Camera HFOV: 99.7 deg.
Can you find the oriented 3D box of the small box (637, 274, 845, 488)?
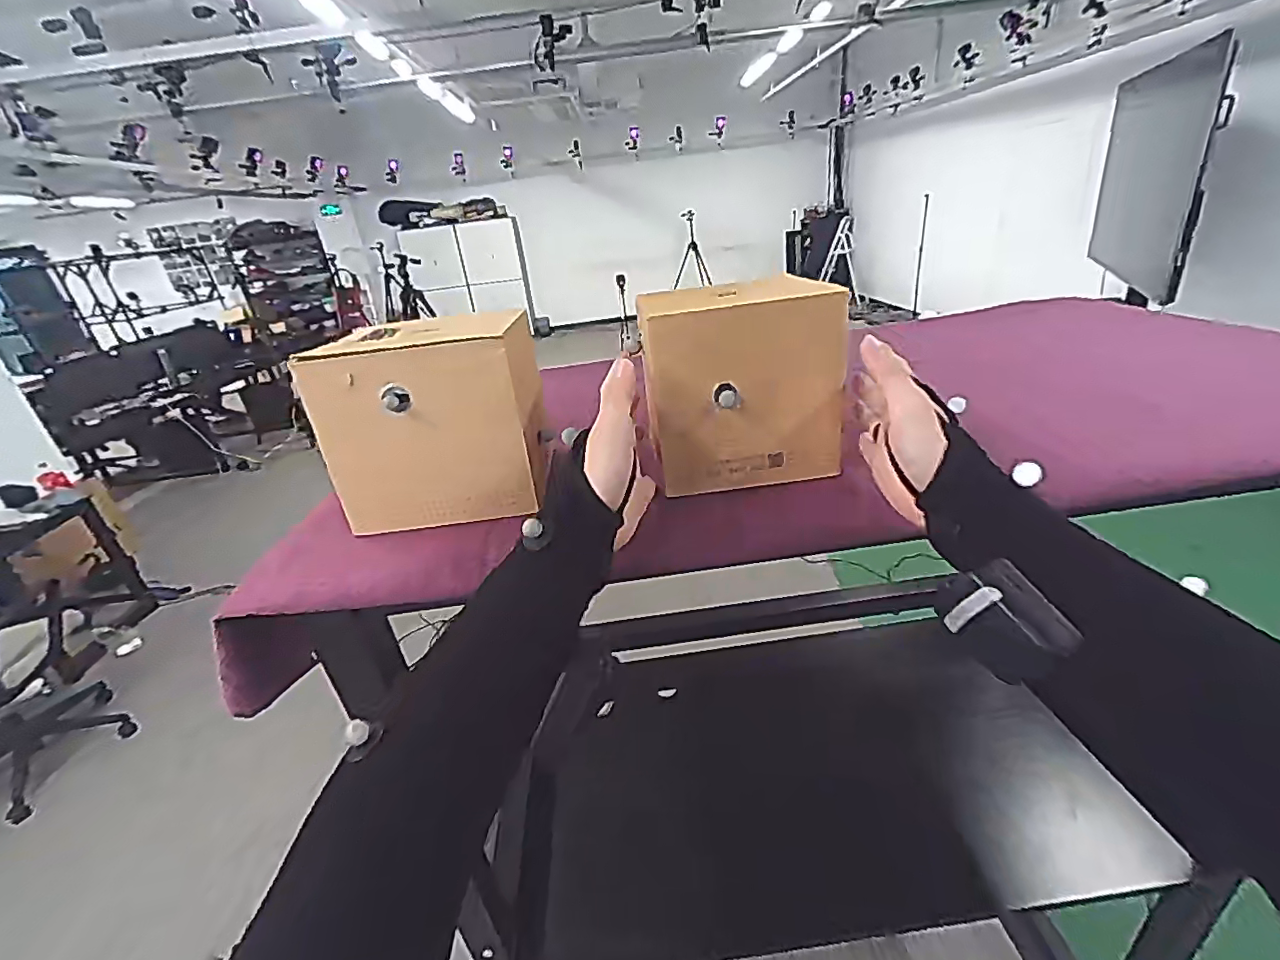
[{"bbox_3d":[0.092,-0.099,0.537,0.168,0.176,0.179,-8,24,0],"label":"small box"}]

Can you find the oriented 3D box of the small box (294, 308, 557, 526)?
[{"bbox_3d":[-0.189,-0.066,0.539,0.179,0.176,0.168,-7,25,-1],"label":"small box"}]
